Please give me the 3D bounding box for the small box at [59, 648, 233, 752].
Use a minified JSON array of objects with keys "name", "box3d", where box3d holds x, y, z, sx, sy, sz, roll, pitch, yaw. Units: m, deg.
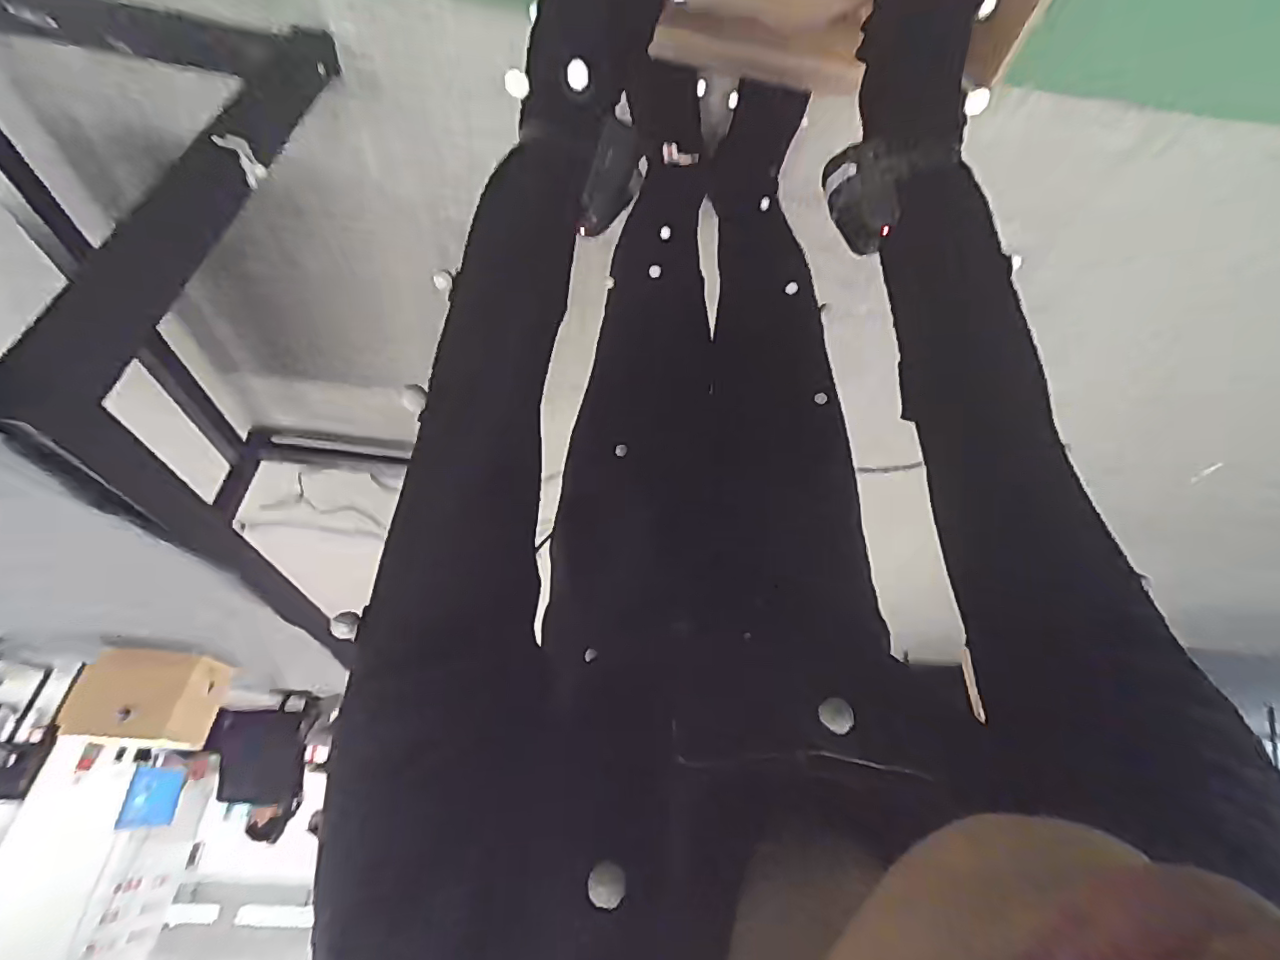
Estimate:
[{"name":"small box","box3d":[-0.994,0.451,1.109,0.179,0.176,0.168,7,148,-8]}]
